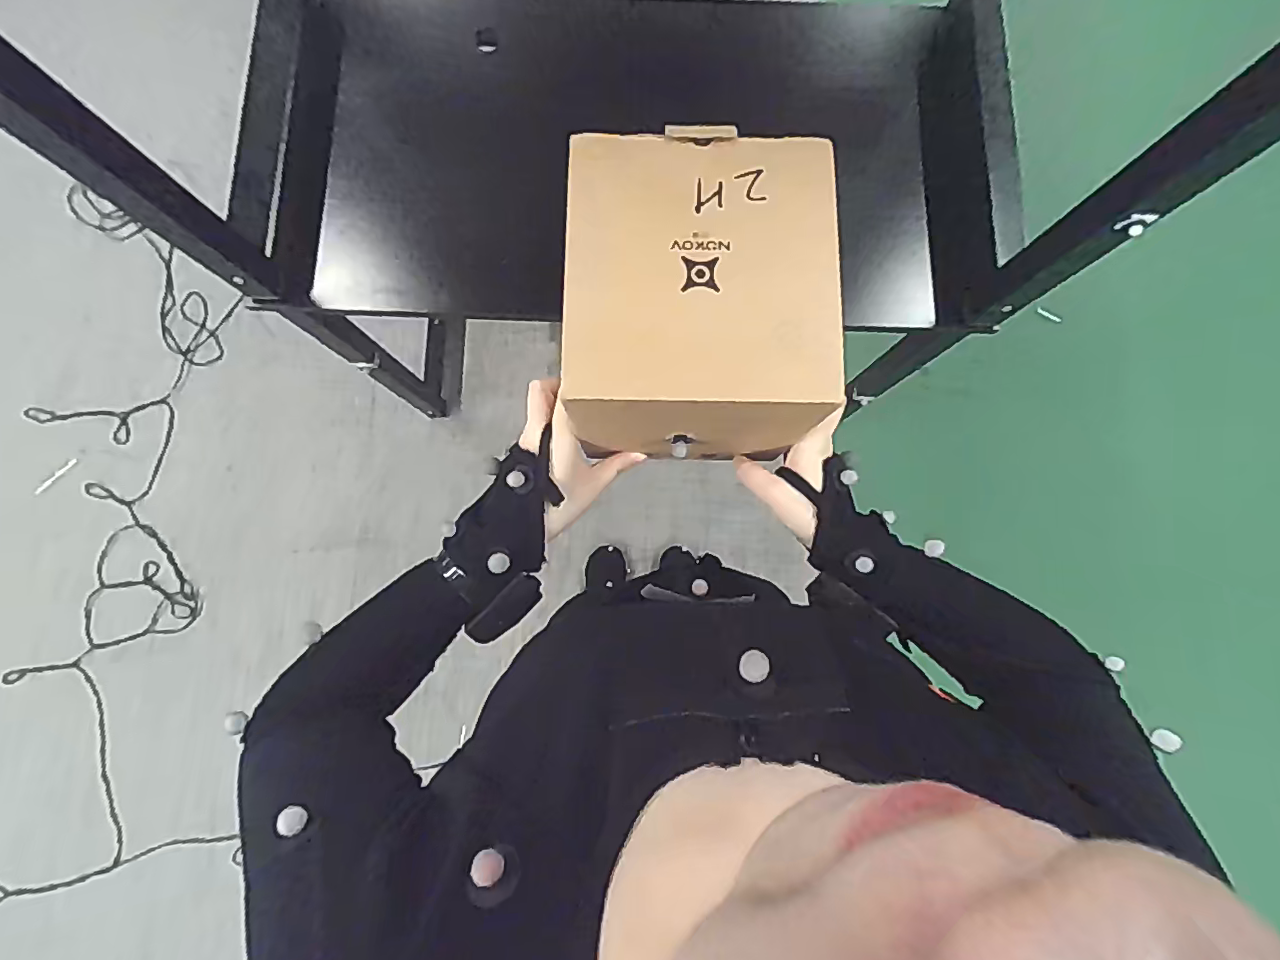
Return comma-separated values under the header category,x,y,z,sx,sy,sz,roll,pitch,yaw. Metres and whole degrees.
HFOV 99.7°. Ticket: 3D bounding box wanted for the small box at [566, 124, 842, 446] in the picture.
category,x,y,z,sx,sy,sz,roll,pitch,yaw
small box,0.040,-0.125,0.408,0.168,0.176,0.179,2,81,-1
